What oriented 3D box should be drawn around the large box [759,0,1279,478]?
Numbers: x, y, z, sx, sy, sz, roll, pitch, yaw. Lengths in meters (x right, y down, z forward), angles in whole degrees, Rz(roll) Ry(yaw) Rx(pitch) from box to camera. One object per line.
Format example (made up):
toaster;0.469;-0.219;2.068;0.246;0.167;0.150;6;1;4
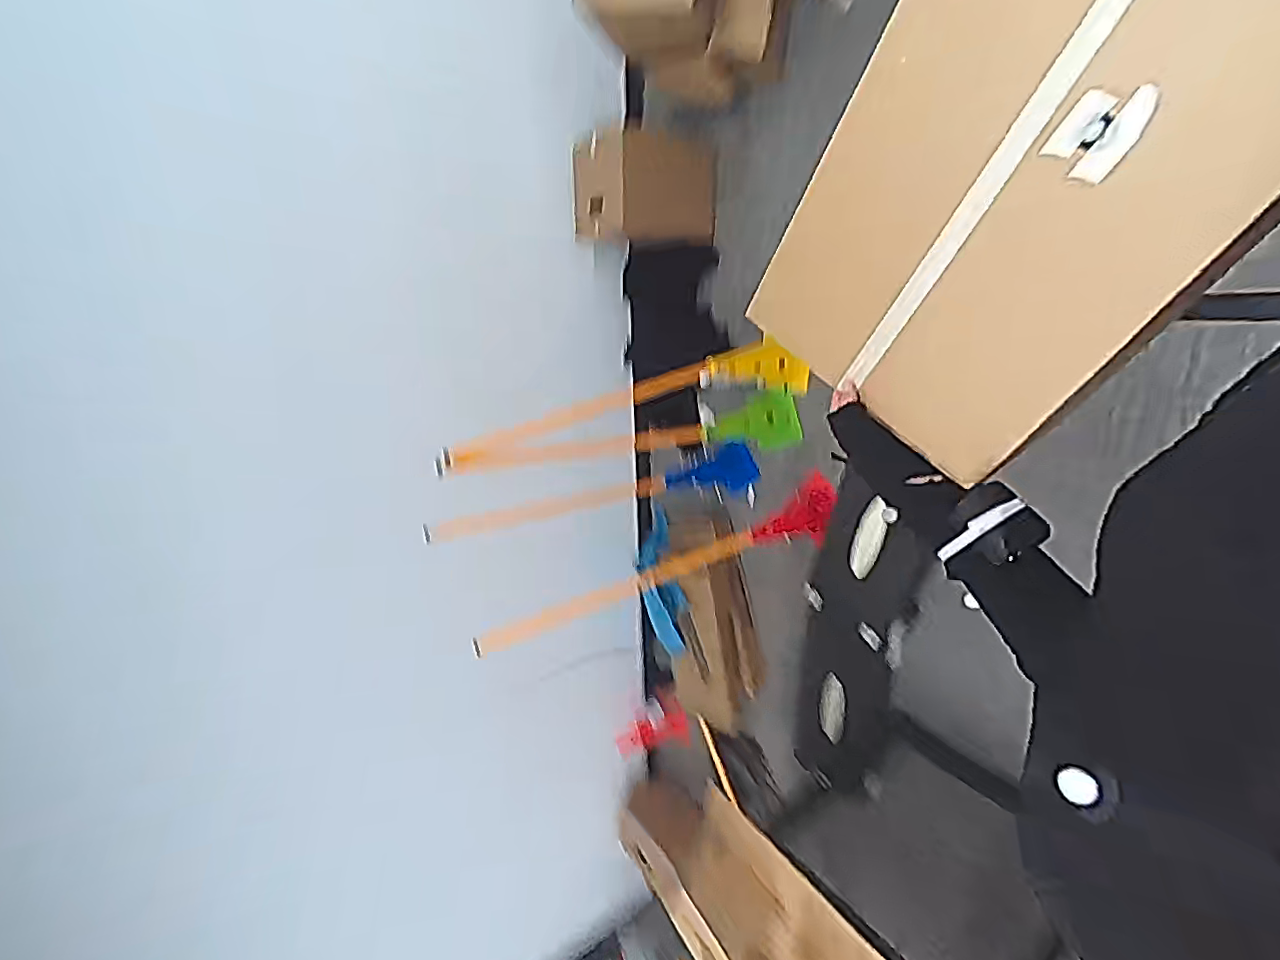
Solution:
large box;0.401;-0.273;0.548;0.320;0.320;0.408;48;135;24
